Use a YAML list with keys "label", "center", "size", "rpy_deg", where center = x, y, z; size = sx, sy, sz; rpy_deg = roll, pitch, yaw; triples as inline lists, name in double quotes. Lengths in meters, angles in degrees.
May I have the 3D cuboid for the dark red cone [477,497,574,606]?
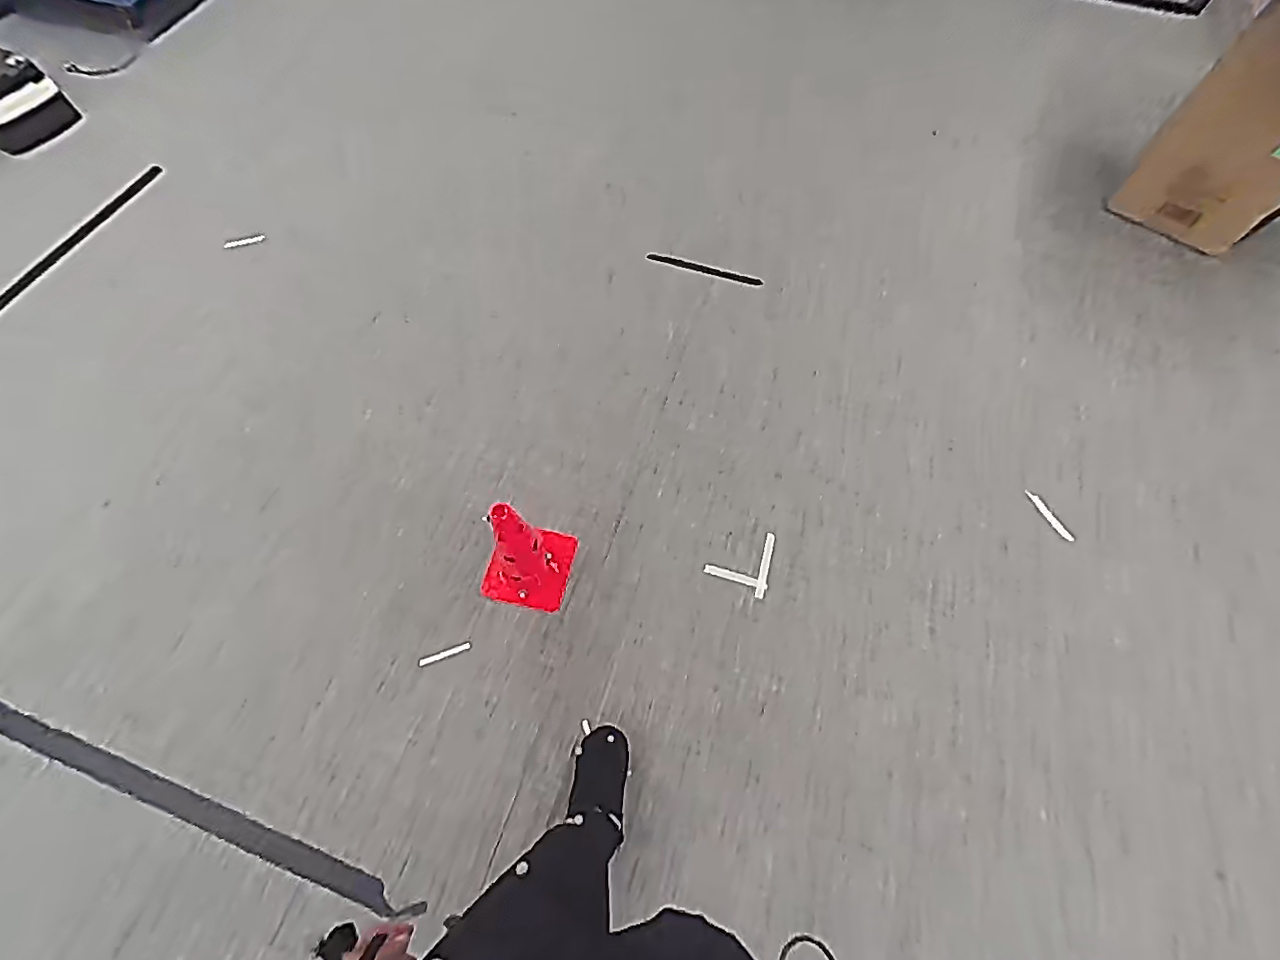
- label: "dark red cone"
  center: [-0.269, 0.127, 1.159]
  size: [0.202, 0.394, 0.201]
  rpy_deg: [11, 65, 4]
